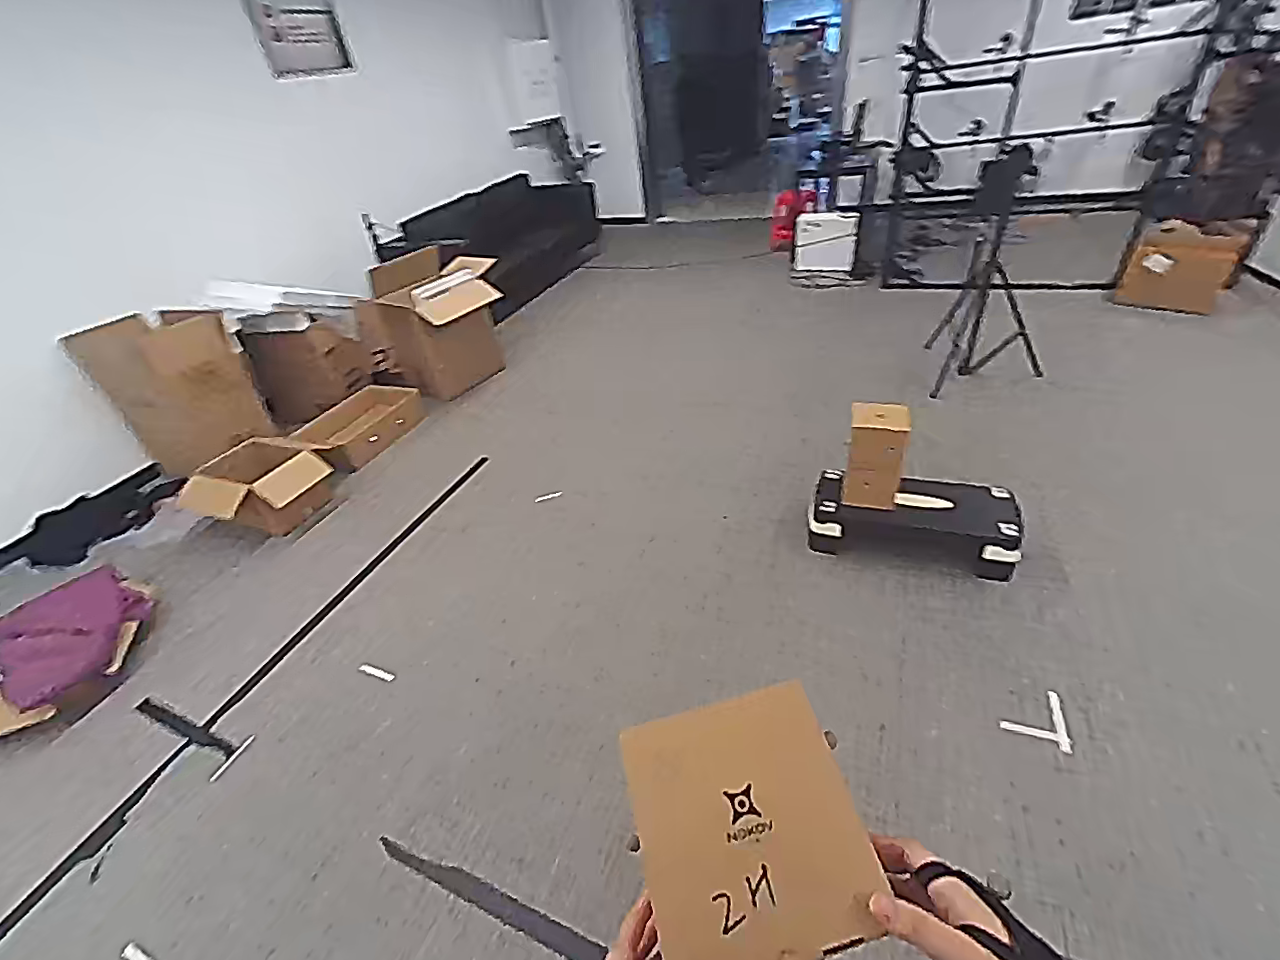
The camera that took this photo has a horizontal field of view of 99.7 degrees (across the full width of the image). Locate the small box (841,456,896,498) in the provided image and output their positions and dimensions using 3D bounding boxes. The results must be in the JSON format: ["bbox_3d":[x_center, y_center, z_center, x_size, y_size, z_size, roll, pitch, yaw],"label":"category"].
[{"bbox_3d":[0.818,-0.023,1.948,0.179,0.176,0.168,6,40,19],"label":"small box"}]

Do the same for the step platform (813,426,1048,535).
[{"bbox_3d":[0.948,-0.011,1.845,0.684,0.204,0.286,8,39,20],"label":"step platform"}]

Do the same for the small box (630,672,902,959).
[{"bbox_3d":[0.096,0.303,0.483,0.168,0.176,0.179,-15,49,-2],"label":"small box"}]

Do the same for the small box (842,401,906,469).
[{"bbox_3d":[0.796,-0.152,1.849,0.179,0.176,0.168,6,38,19],"label":"small box"}]
